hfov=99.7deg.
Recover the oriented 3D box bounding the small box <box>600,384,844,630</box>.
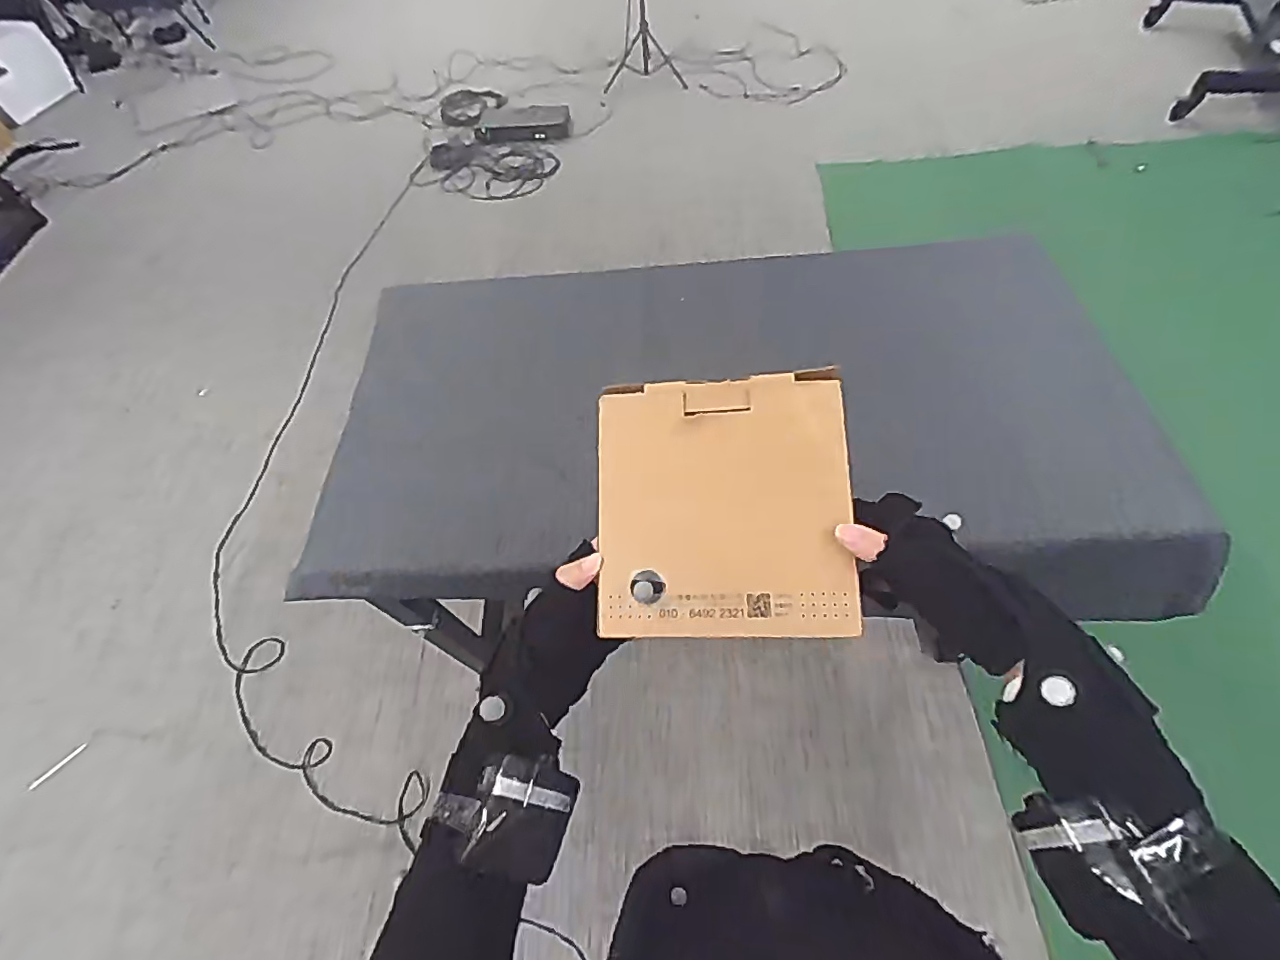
[{"bbox_3d":[0.067,0.034,0.453,0.168,0.179,0.176,-2,78,9],"label":"small box"}]
